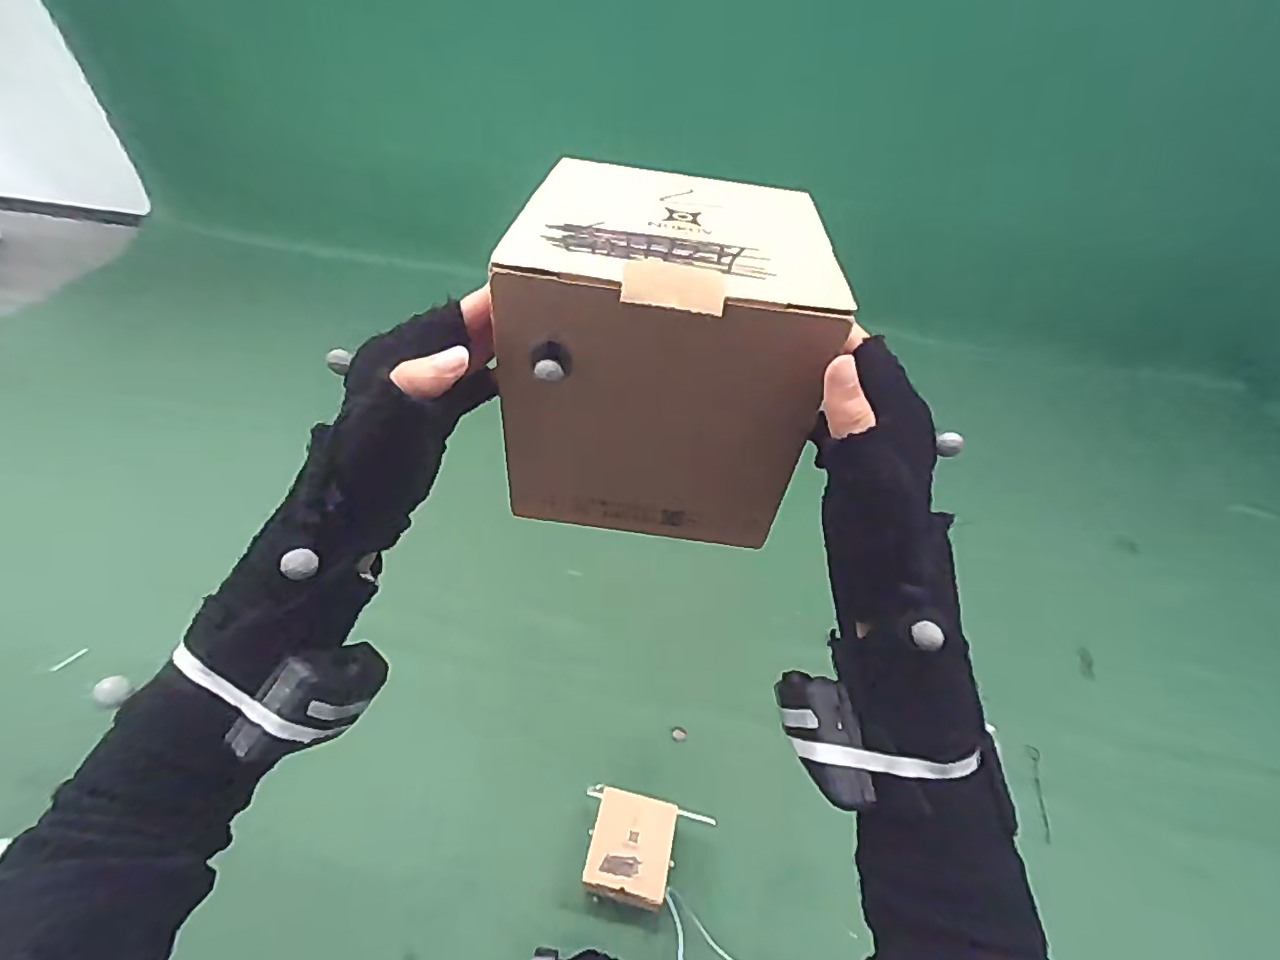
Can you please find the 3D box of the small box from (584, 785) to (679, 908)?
[{"bbox_3d":[-0.016,0.800,1.176,0.168,0.176,0.179,12,47,7],"label":"small box"}]
